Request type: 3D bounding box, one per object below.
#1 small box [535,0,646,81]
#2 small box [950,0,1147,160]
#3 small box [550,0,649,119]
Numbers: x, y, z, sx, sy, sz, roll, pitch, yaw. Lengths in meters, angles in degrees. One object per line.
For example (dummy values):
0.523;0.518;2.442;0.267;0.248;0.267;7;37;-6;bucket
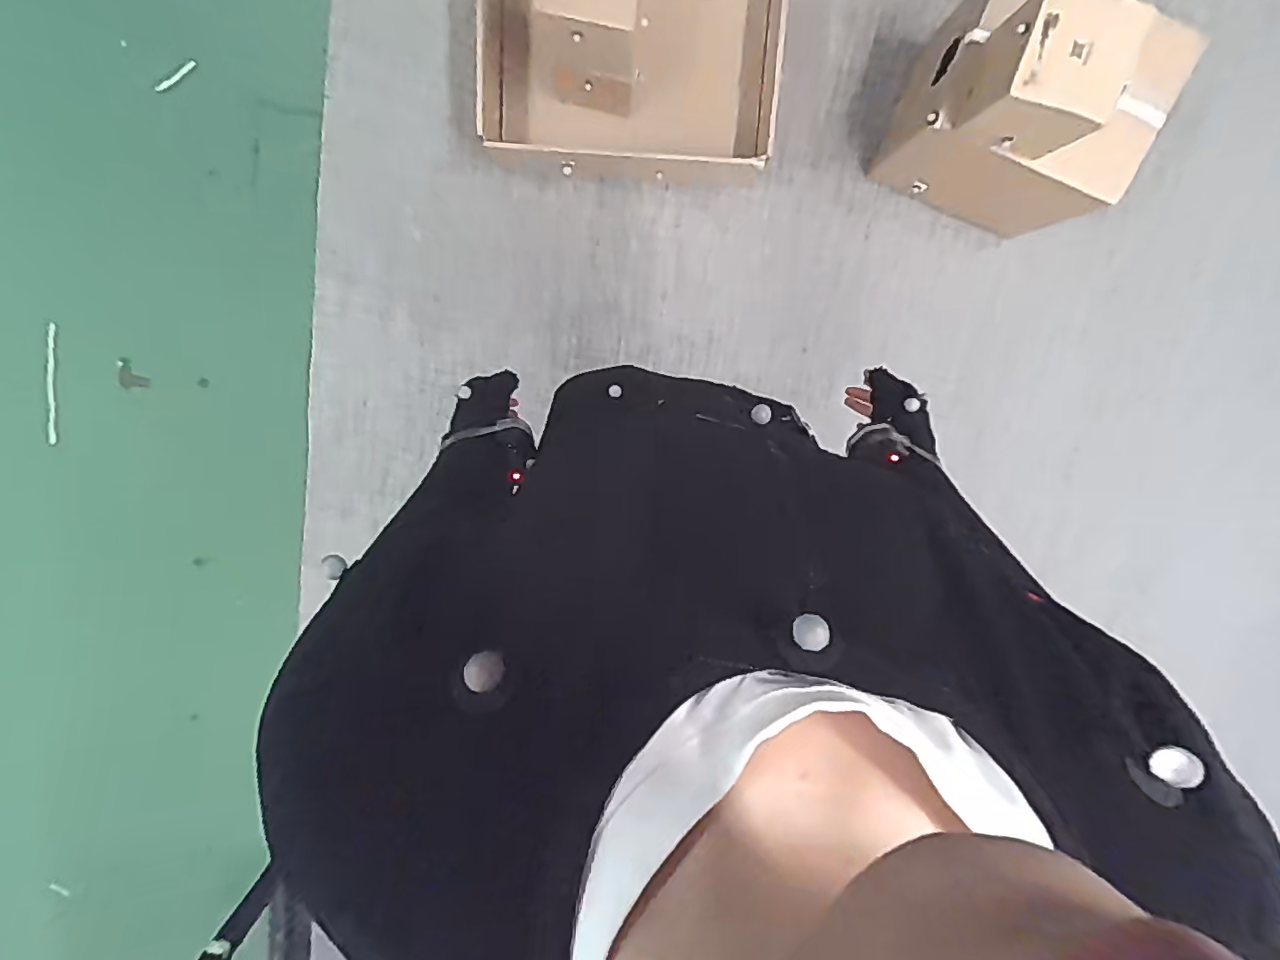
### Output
-0.083;-0.873;0.991;0.179;0.176;0.168;9;102;-4;small box
0.685;-0.679;0.930;0.179;0.176;0.168;15;103;-4;small box
-0.085;-0.906;1.152;0.179;0.176;0.168;10;102;-5;small box
